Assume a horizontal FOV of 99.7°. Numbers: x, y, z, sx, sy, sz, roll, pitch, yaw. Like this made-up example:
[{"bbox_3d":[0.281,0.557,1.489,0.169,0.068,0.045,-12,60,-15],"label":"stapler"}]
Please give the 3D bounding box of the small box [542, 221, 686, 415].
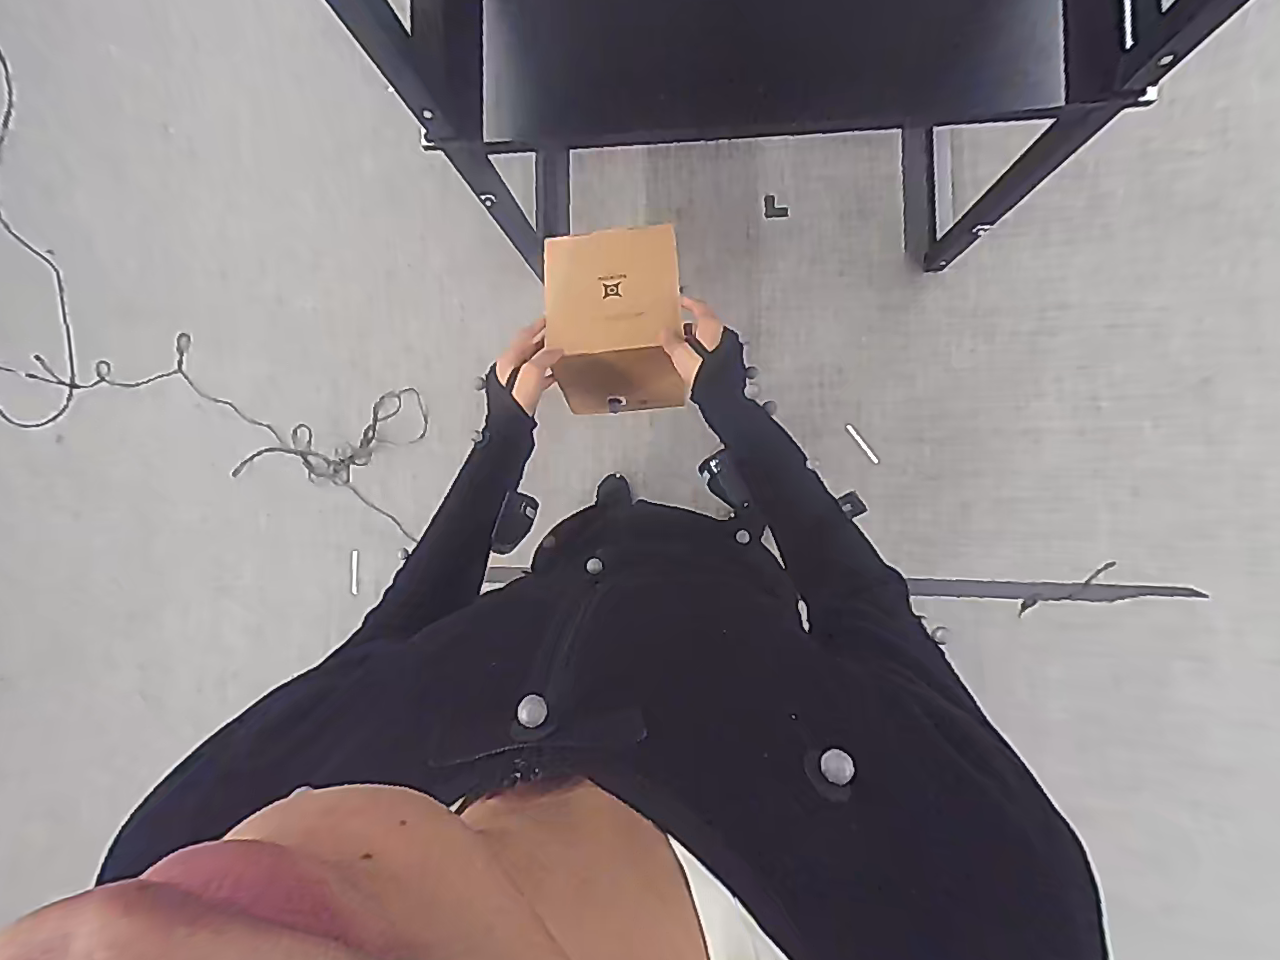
[{"bbox_3d":[-0.028,-0.204,0.711,0.168,0.176,0.179,-5,71,4],"label":"small box"}]
